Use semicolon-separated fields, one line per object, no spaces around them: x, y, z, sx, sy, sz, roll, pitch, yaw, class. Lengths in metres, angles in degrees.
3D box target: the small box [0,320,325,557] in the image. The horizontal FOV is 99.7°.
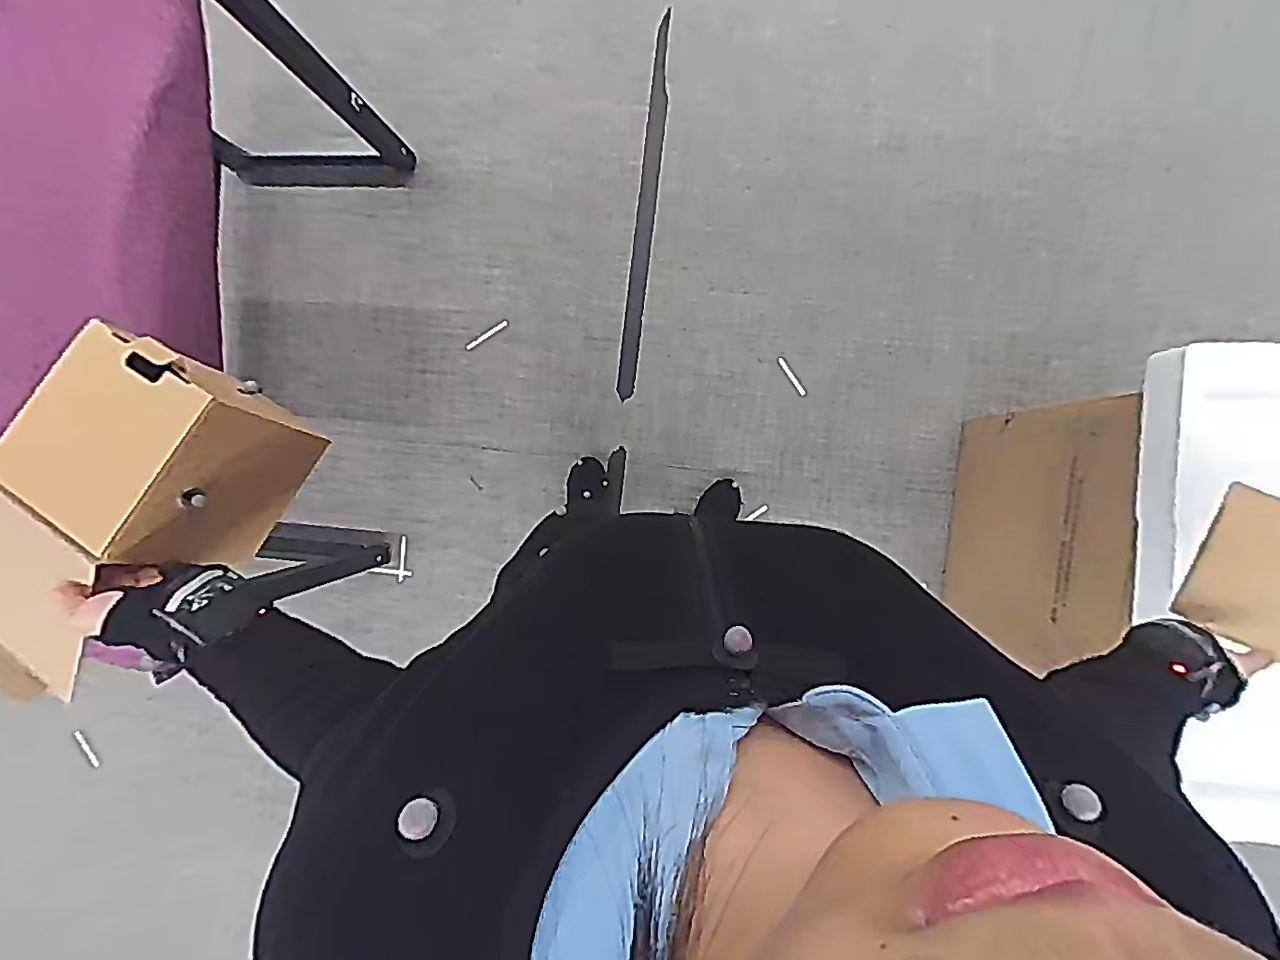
-0.489;-0.029;0.581;0.168;0.176;0.179;30;83;10;small box
